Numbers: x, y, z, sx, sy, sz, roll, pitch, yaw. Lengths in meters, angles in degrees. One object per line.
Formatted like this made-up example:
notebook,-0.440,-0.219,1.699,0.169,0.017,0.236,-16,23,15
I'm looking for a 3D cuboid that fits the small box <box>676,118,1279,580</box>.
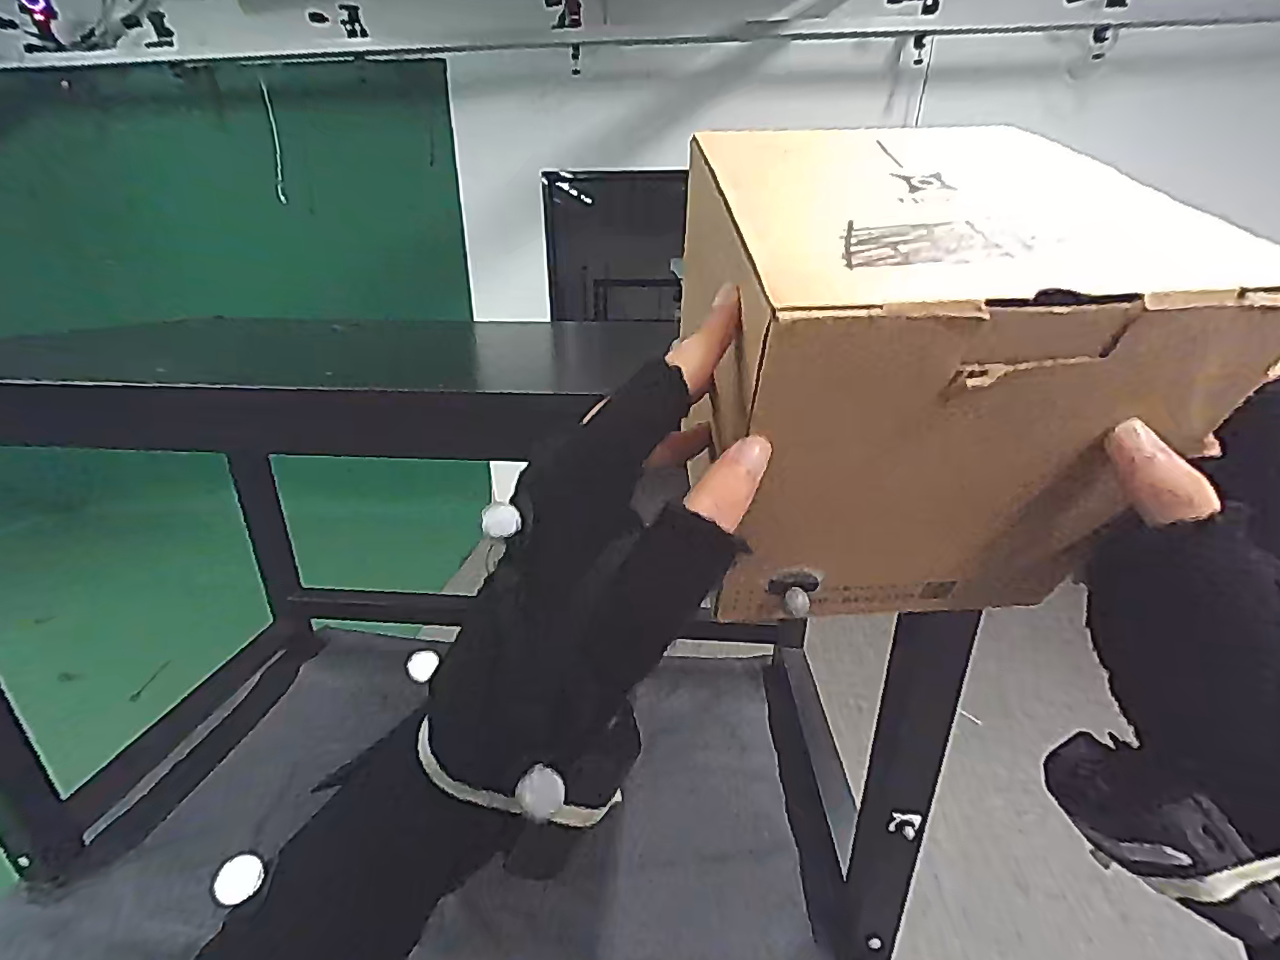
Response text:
small box,0.109,-0.062,0.271,0.168,0.176,0.179,-2,45,-2
